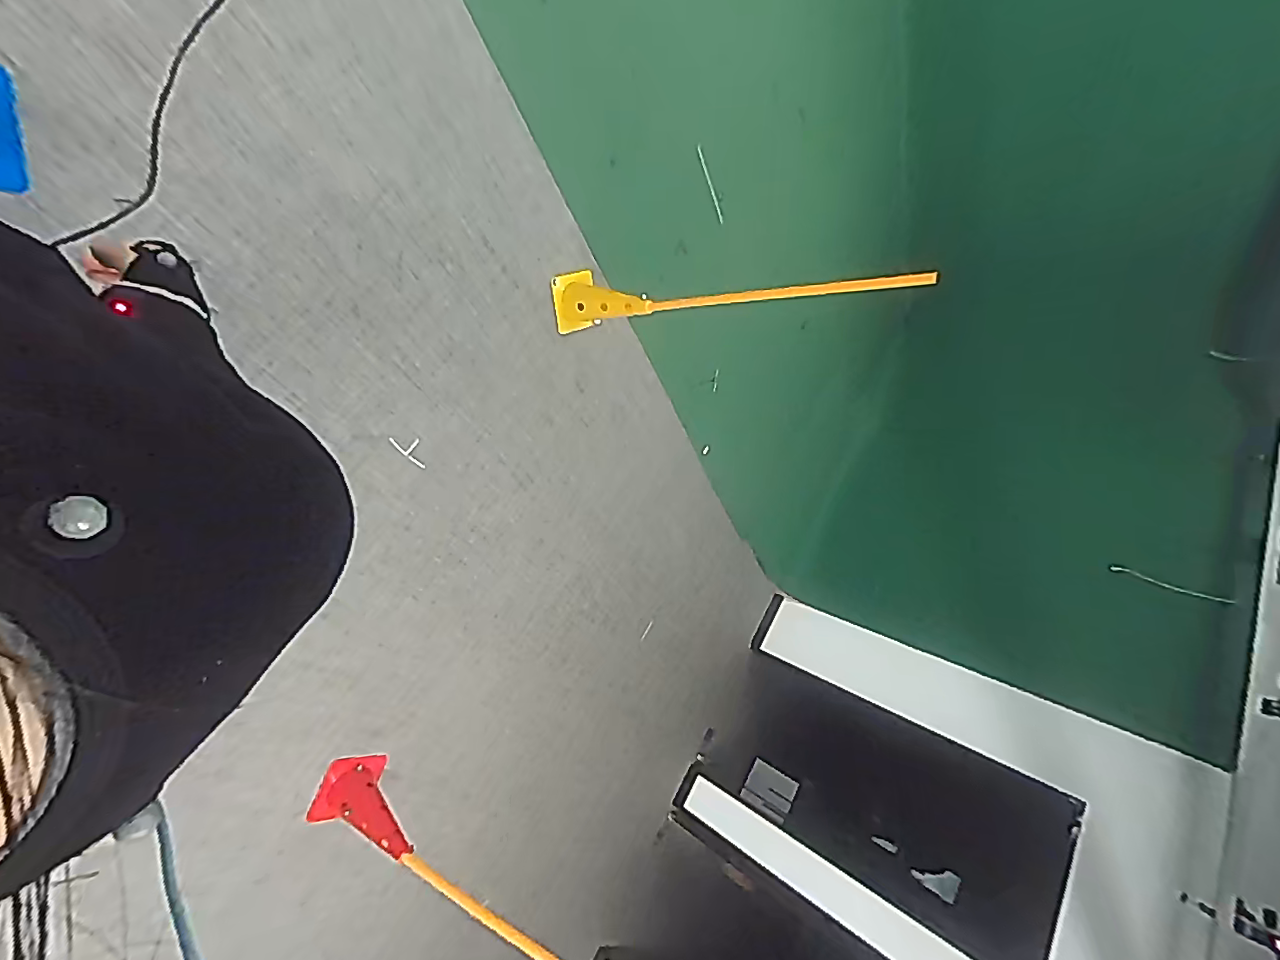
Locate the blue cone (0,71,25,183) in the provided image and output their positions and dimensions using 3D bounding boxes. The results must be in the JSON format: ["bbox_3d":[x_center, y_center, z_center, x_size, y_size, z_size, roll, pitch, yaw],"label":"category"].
[{"bbox_3d":[-1.002,-0.540,0.750,0.193,0.380,0.192,-13,115,-47],"label":"blue cone"}]
